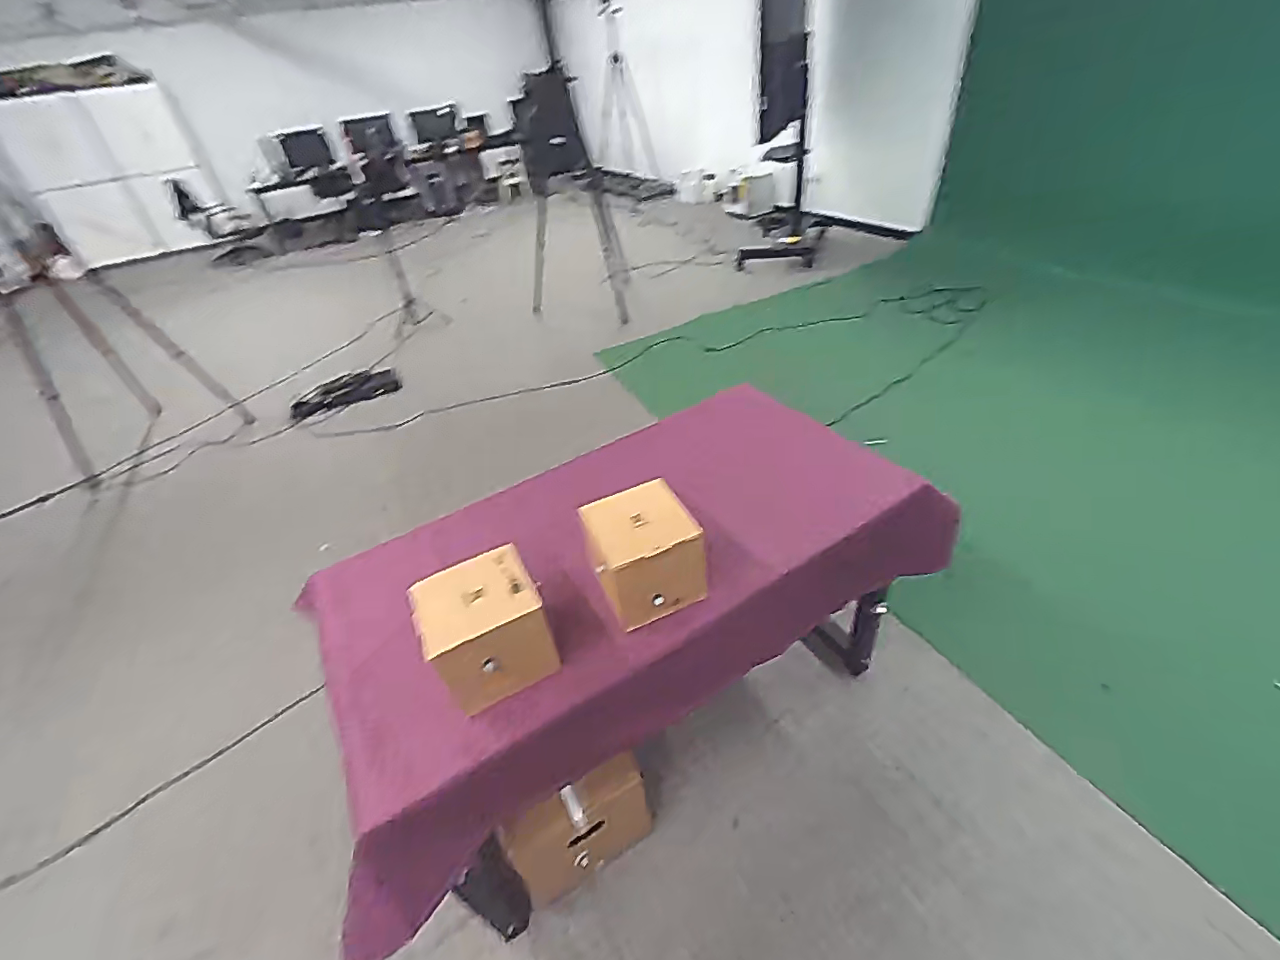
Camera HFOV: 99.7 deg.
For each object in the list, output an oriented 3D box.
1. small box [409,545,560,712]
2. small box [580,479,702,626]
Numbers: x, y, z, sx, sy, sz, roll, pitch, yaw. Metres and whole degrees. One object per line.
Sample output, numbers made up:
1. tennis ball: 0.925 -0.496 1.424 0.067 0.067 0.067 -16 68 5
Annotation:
1. small box: -0.255 0.247 0.899 0.179 0.176 0.168 -24 42 -18
2. small box: 0.002 0.132 0.997 0.168 0.176 0.179 -20 41 -14
